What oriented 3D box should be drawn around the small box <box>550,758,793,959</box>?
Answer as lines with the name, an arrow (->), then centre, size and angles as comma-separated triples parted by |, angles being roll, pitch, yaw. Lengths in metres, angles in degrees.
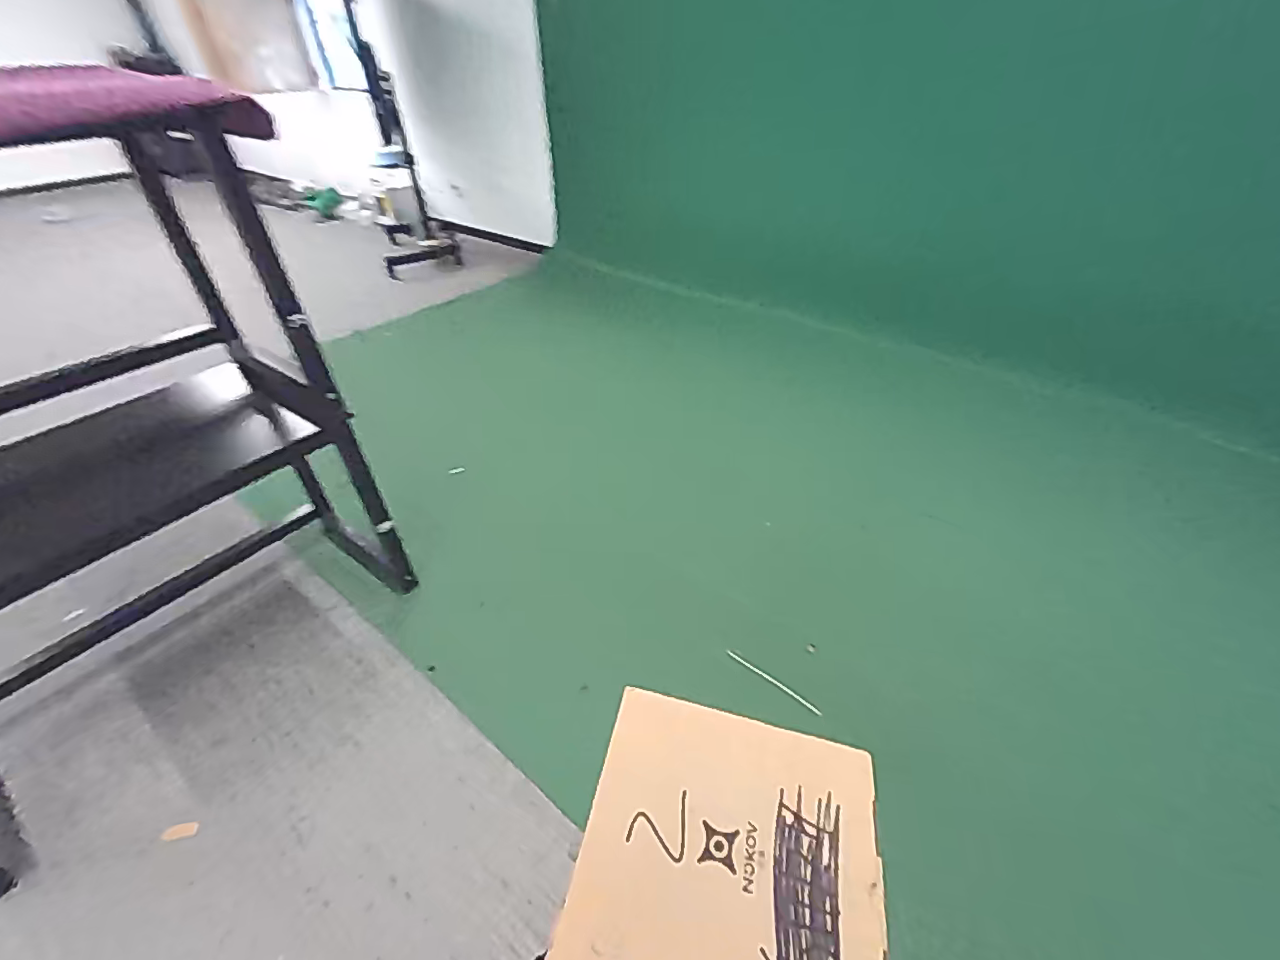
small box -> 0.025, 0.383, 0.481 | 0.179, 0.176, 0.168 | 13, 42, 6
